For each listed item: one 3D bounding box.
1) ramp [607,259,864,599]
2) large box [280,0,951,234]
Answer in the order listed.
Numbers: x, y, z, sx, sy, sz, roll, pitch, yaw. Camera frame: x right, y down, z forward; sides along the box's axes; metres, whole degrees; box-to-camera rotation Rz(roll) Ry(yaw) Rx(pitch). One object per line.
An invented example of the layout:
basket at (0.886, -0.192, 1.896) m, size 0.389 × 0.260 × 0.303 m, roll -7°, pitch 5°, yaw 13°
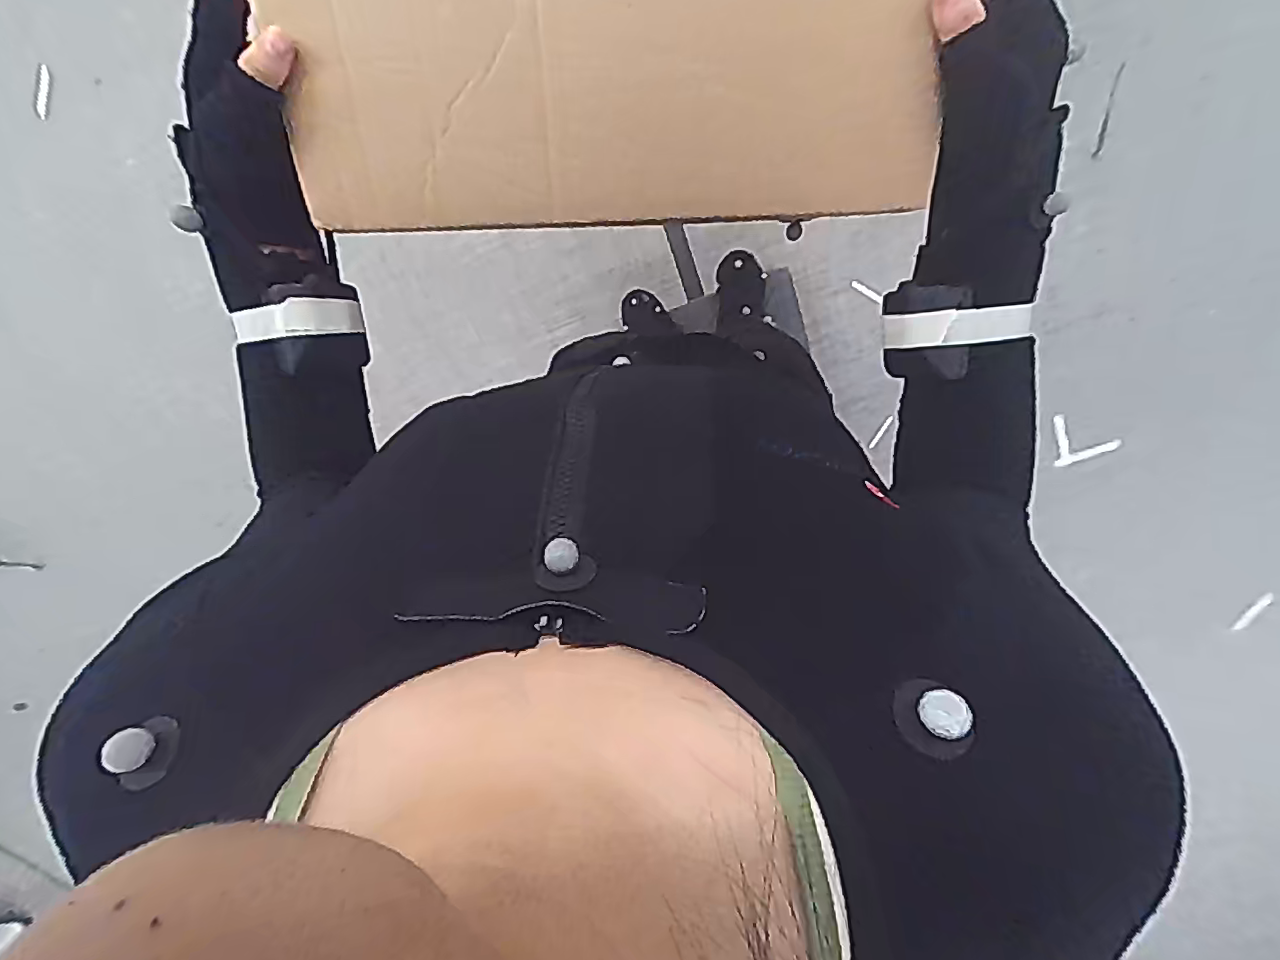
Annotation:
ramp at (0.324, -0.066, 1.583) m, size 0.509 × 0.206 × 0.991 m, roll -21°, pitch 108°, yaw 12°
large box at (-0.011, -0.382, 0.436) m, size 0.408 × 0.320 × 0.320 m, roll 0°, pitch 115°, yaw 3°
